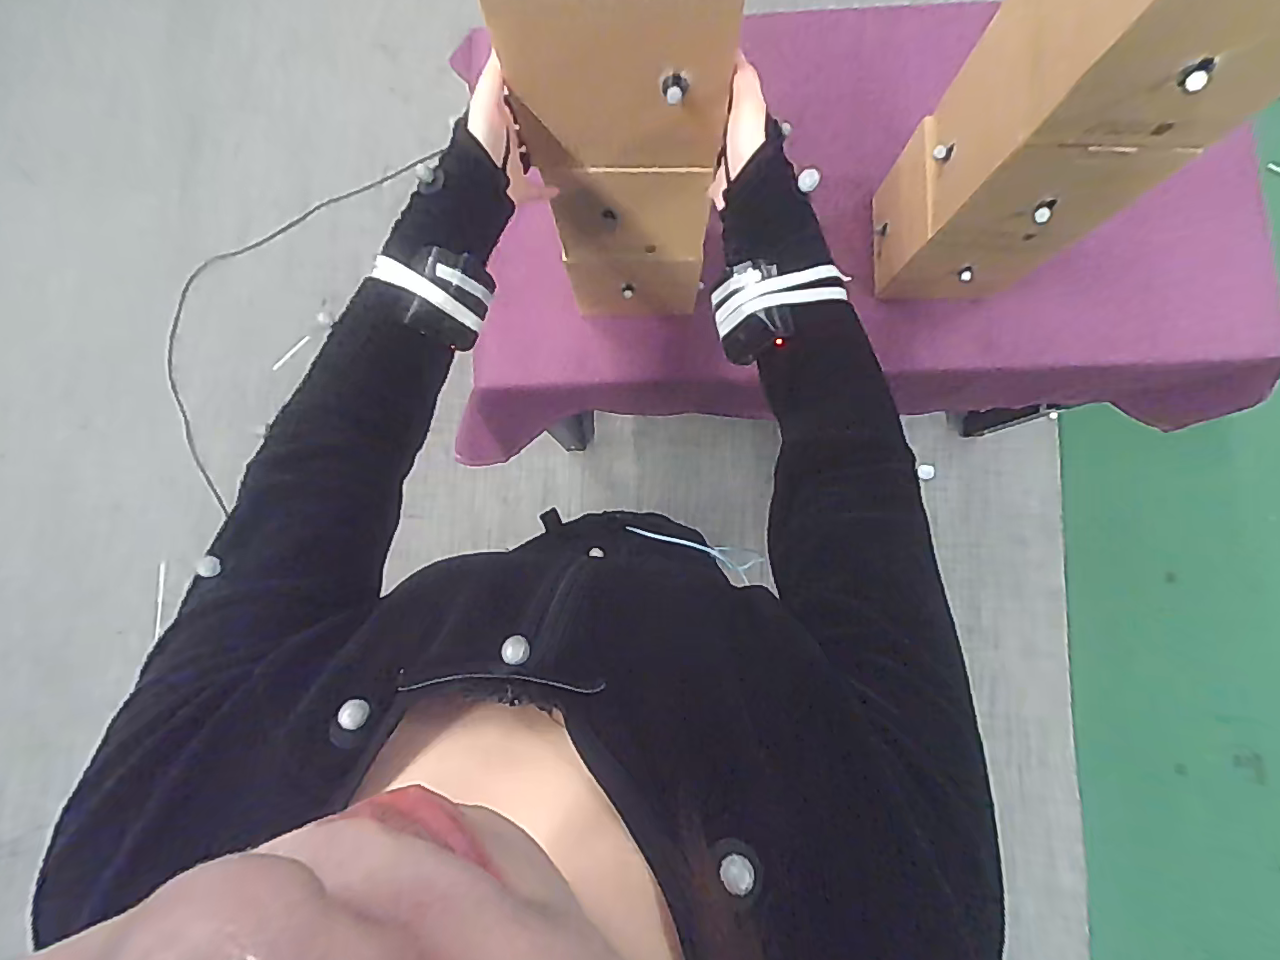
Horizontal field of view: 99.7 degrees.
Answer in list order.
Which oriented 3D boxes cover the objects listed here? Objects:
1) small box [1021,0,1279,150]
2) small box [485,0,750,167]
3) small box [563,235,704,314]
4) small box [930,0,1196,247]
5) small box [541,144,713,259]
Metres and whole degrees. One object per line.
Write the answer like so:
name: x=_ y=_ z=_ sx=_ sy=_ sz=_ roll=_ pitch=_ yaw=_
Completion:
small box: x=0.431 y=-0.391 z=0.419 sx=0.168 sy=0.176 sz=0.179 roll=3 pitch=84 yaw=2
small box: x=-0.011 y=-0.379 z=0.429 sx=0.179 sy=0.176 sz=0.168 roll=2 pitch=82 yaw=2
small box: x=-0.007 y=-0.343 z=0.753 sx=0.179 sy=0.176 sz=0.168 roll=0 pitch=84 yaw=2
small box: x=0.437 y=-0.376 z=0.583 sx=0.168 sy=0.176 sz=0.179 roll=5 pitch=85 yaw=2
small box: x=-0.007 y=-0.362 z=0.592 sx=0.168 sy=0.176 sz=0.179 roll=1 pitch=83 yaw=1
